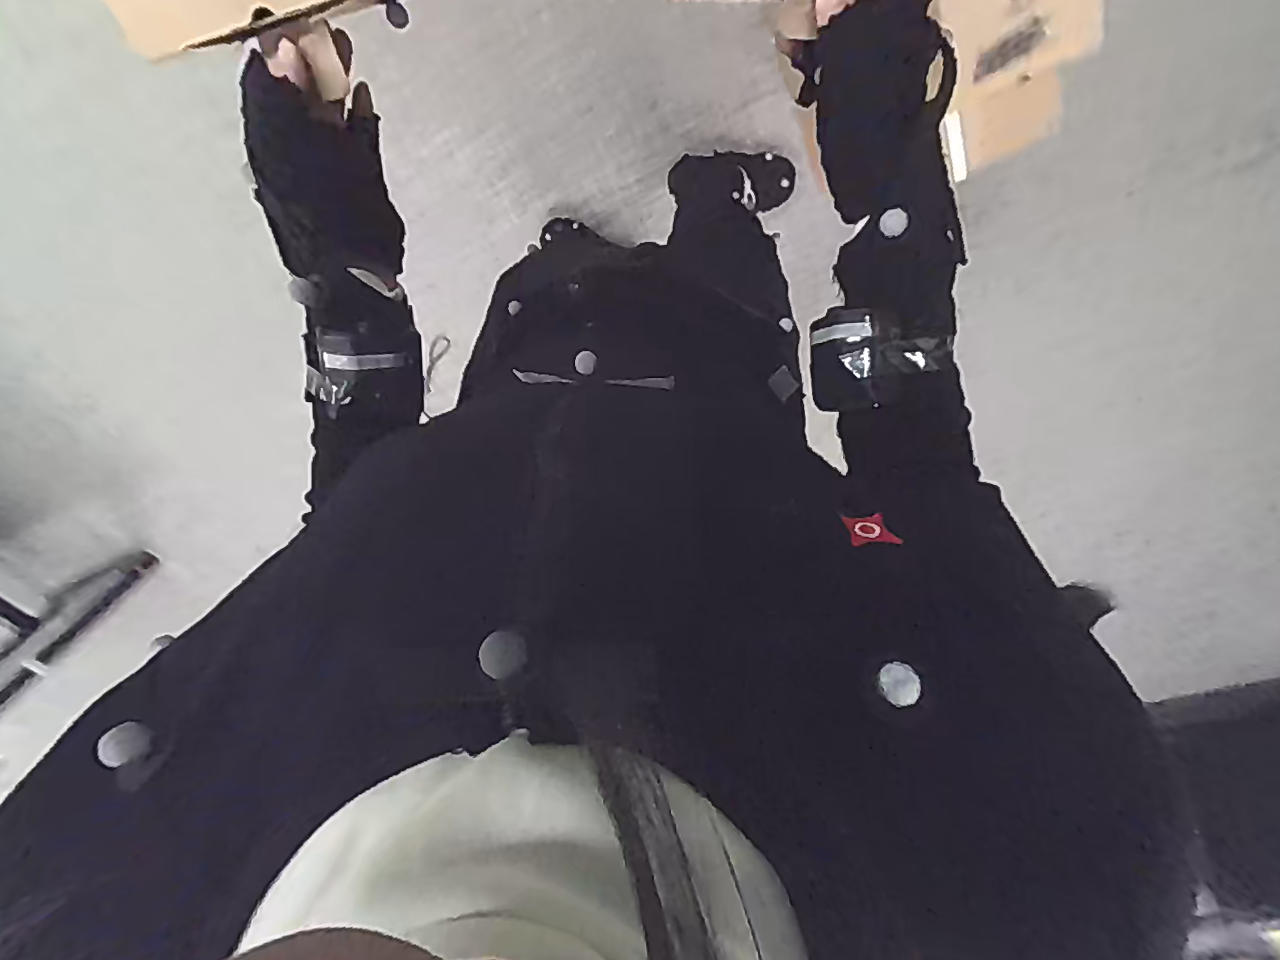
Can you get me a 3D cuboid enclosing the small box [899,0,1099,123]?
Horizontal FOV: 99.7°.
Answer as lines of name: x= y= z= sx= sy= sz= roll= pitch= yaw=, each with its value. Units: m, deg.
small box: x=0.448 y=-0.601 z=0.692 sx=0.168 sy=0.176 sz=0.179 roll=-19 pitch=123 yaw=22
